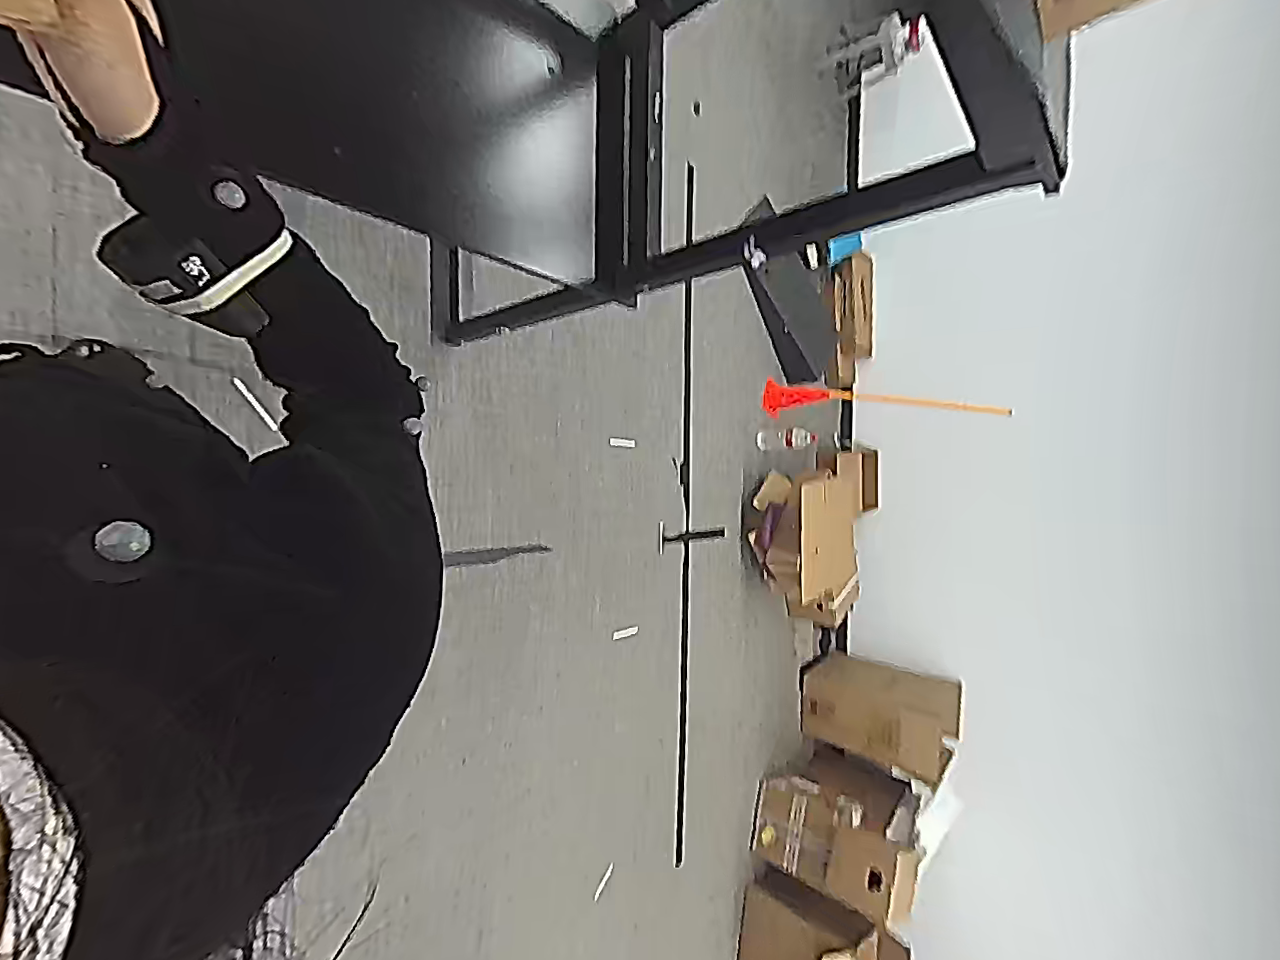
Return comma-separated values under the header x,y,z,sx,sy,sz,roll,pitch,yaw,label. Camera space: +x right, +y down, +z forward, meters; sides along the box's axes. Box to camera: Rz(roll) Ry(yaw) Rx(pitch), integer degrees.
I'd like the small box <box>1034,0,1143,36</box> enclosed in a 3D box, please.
x,y,z,sx,sy,sz,roll,pitch,yaw,label
0.399,-0.507,0.408,0.168,0.176,0.179,2,89,-48,small box
